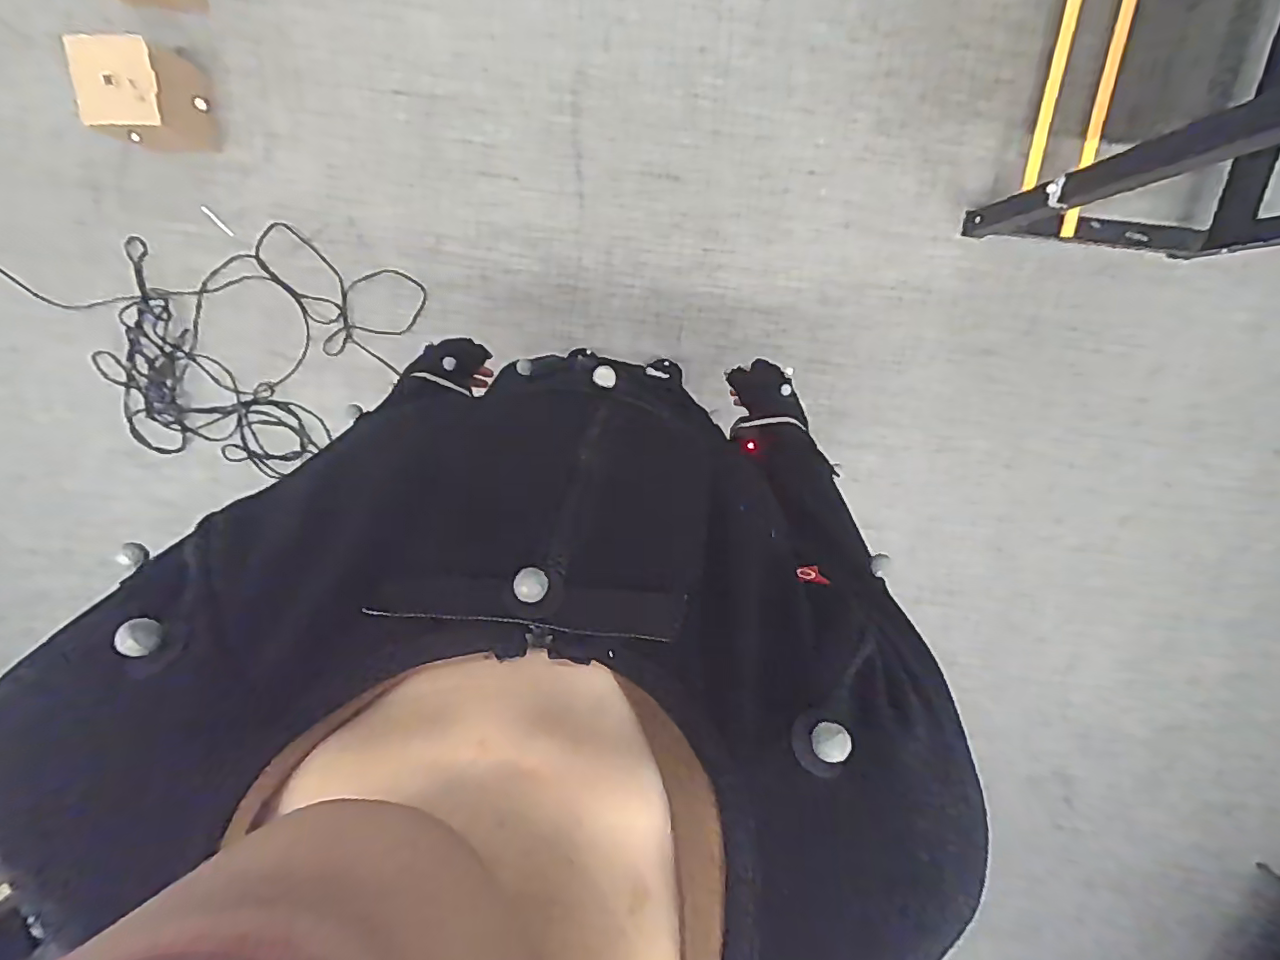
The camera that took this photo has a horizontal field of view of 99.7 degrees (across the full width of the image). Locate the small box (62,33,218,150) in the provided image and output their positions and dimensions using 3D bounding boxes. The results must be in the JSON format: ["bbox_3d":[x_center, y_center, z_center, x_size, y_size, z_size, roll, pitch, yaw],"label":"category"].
[{"bbox_3d":[-1.097,-0.853,1.202,0.179,0.176,0.168,1,105,0],"label":"small box"}]
